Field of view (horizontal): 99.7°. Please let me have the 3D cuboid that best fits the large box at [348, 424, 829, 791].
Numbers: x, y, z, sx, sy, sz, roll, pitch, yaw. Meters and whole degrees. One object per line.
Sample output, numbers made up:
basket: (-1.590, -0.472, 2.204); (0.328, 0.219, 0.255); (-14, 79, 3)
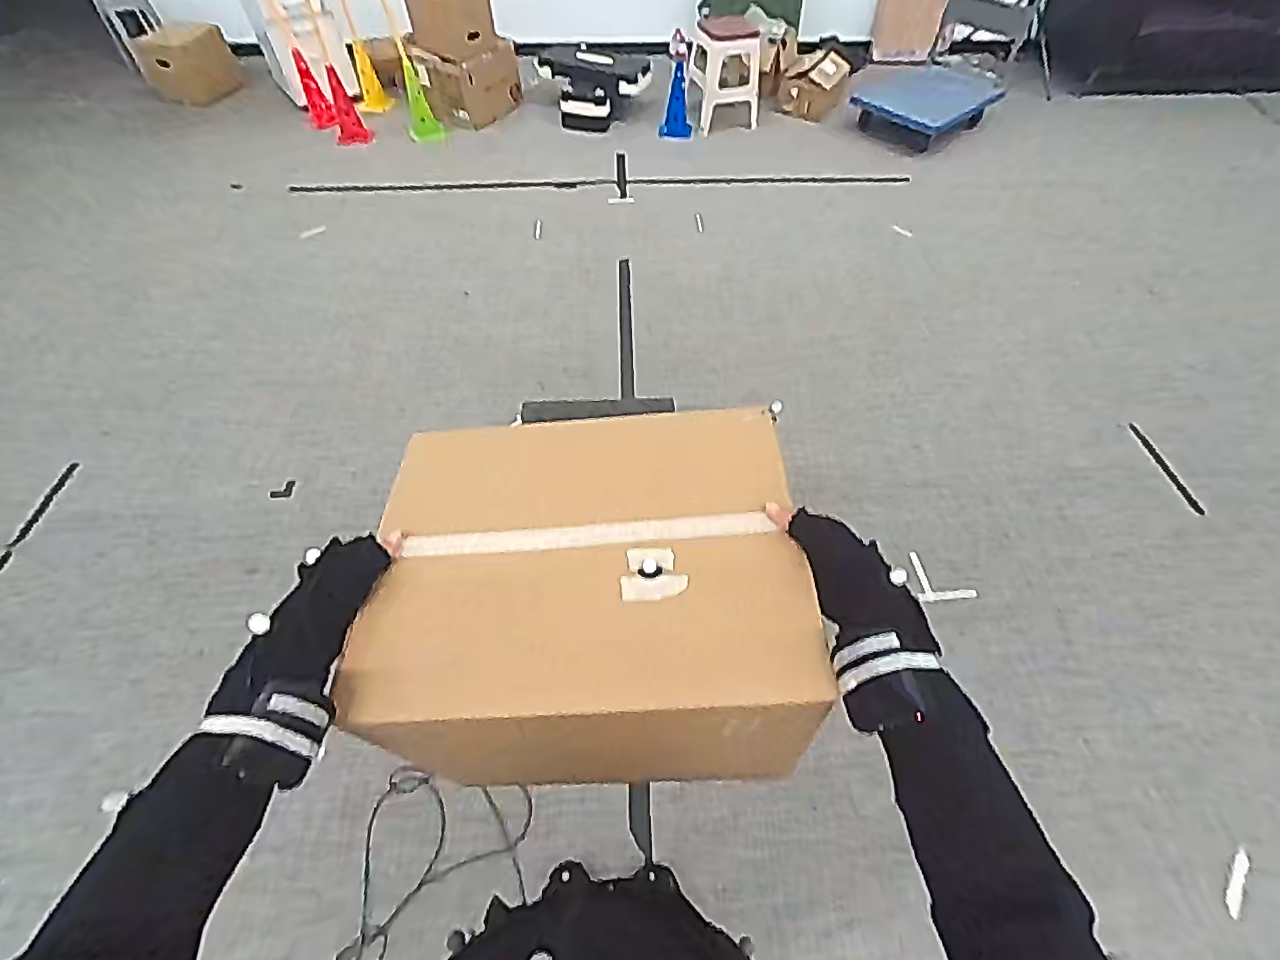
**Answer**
large box: (-0.038, 0.162, 0.643); (0.408, 0.320, 0.320); (-4, 52, 3)
